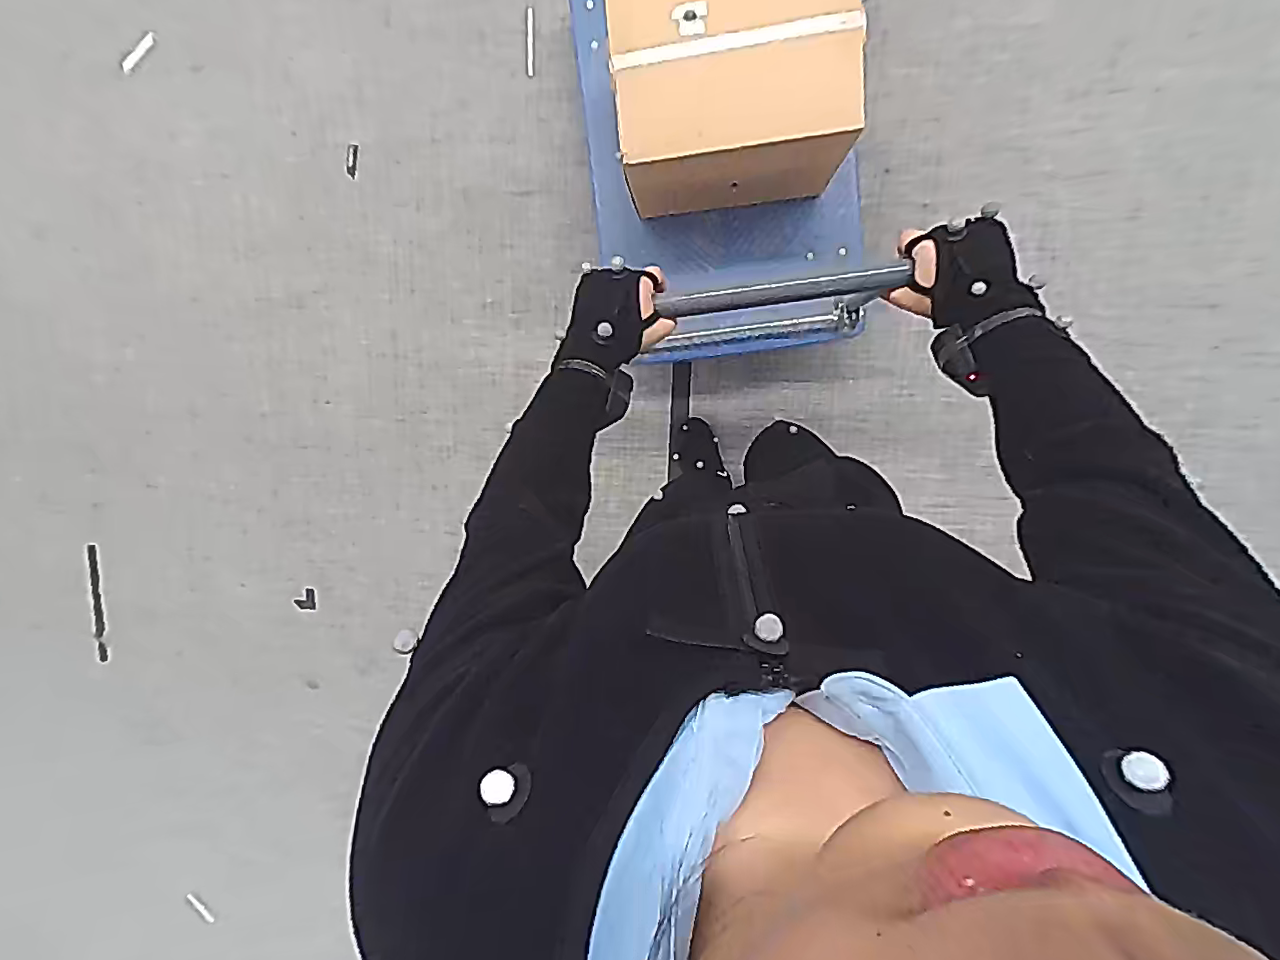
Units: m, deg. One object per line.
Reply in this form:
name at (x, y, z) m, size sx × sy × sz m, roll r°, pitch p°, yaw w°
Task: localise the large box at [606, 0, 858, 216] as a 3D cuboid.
large box at (0.170, -0.745, 1.048) m, size 0.408 × 0.320 × 0.320 m, roll -5°, pitch 98°, yaw 8°
